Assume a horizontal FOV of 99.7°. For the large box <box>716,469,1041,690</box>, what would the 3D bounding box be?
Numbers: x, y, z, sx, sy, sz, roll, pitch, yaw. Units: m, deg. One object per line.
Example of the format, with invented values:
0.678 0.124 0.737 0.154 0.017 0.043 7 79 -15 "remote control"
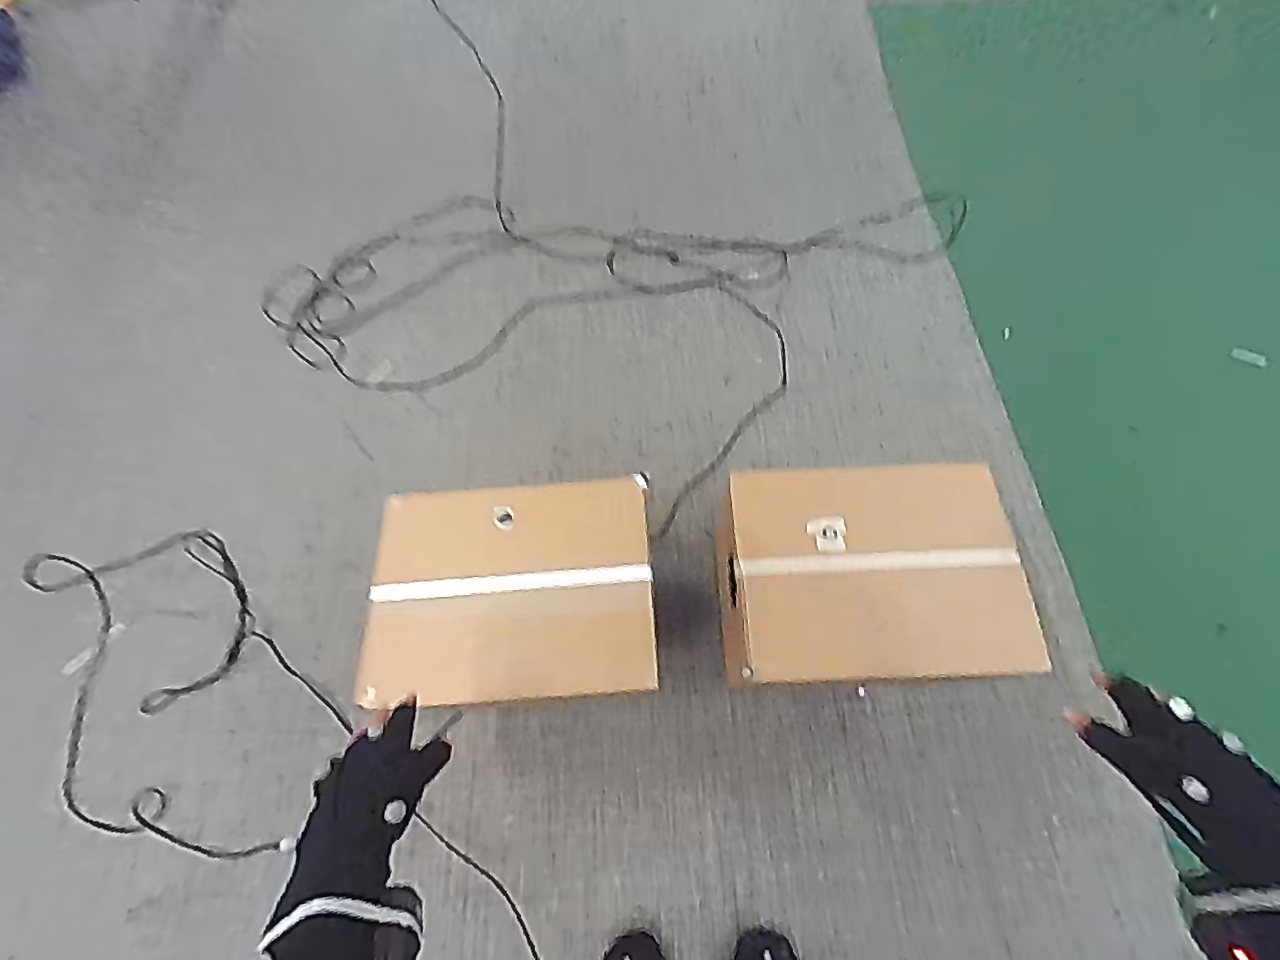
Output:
0.356 0.190 0.936 0.408 0.320 0.320 -2 66 2 "large box"
